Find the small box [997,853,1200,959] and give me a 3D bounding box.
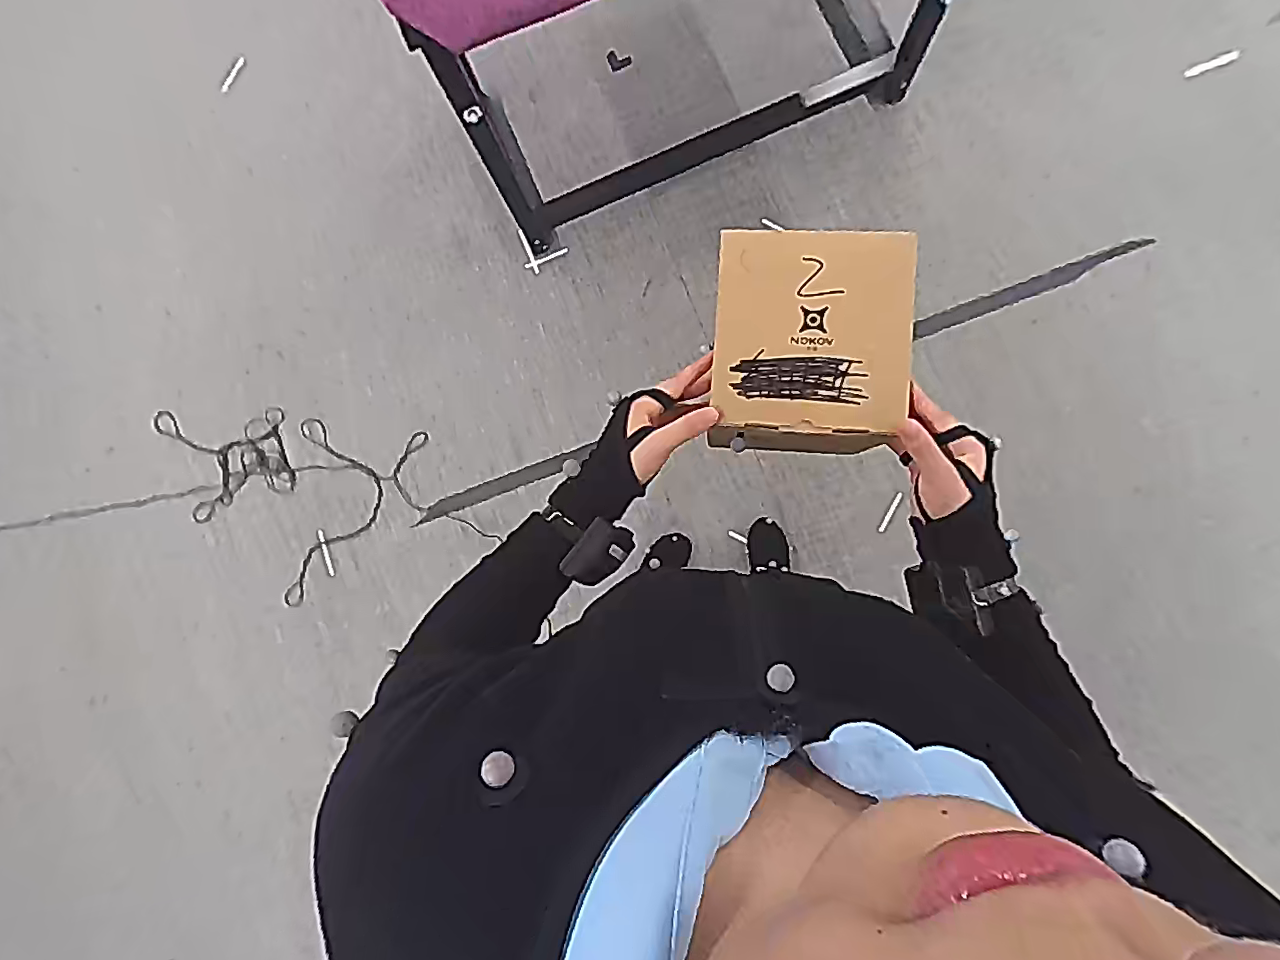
[{"bbox_3d":[0.589,0.625,0.670,0.179,0.176,0.168,-41,82,0],"label":"small box"}]
